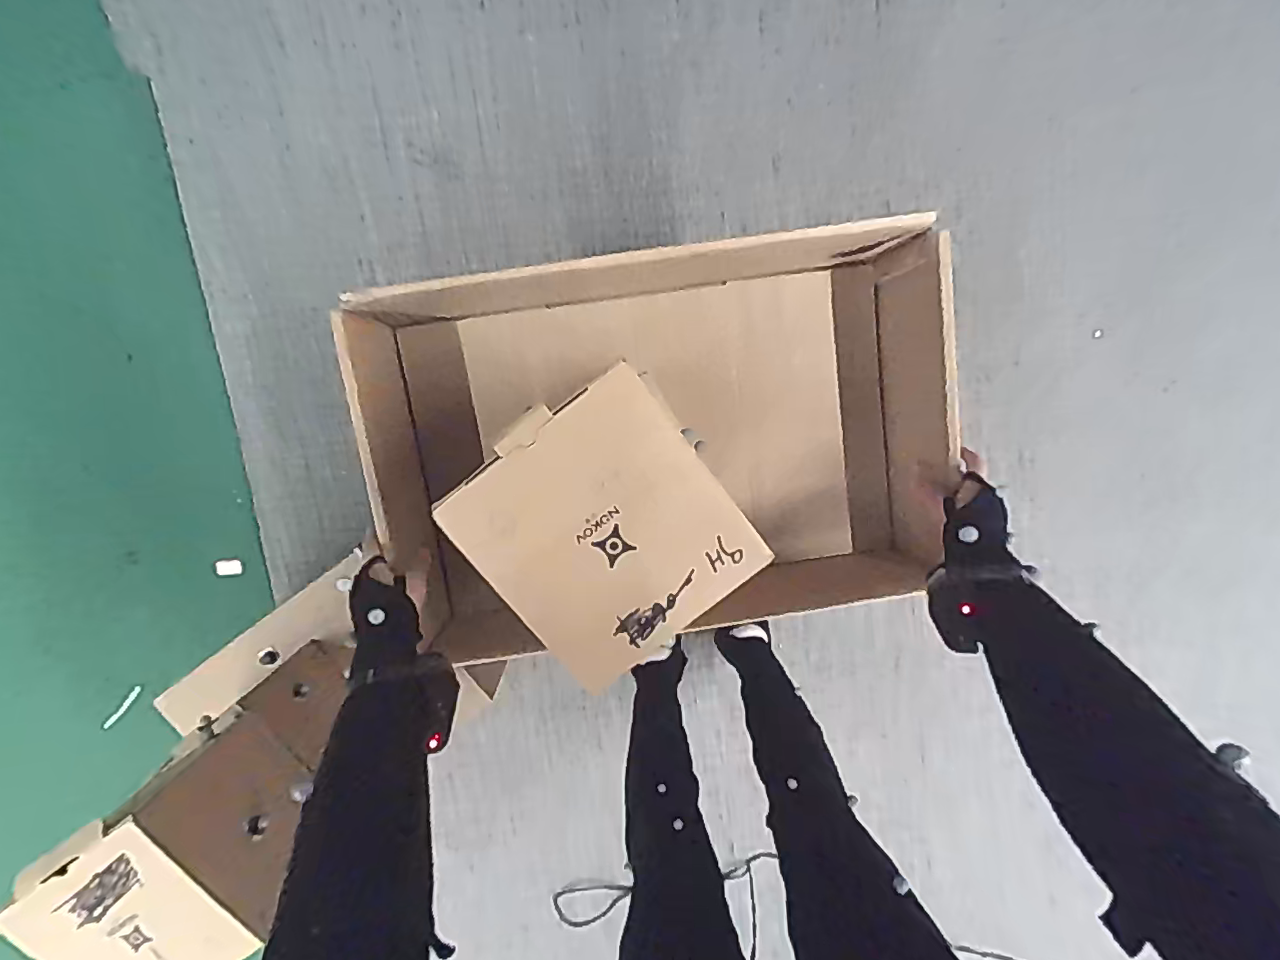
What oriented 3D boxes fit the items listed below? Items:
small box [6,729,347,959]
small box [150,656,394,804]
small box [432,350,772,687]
[{"bbox_3d":[-0.464,0.402,0.577,0.168,0.176,0.179,-36,99,3],"label":"small box"},{"bbox_3d":[-0.480,0.369,0.737,0.168,0.176,0.179,-41,98,4],"label":"small box"},{"bbox_3d":[-0.028,0.021,0.442,0.168,0.176,0.179,-38,98,3],"label":"small box"}]
